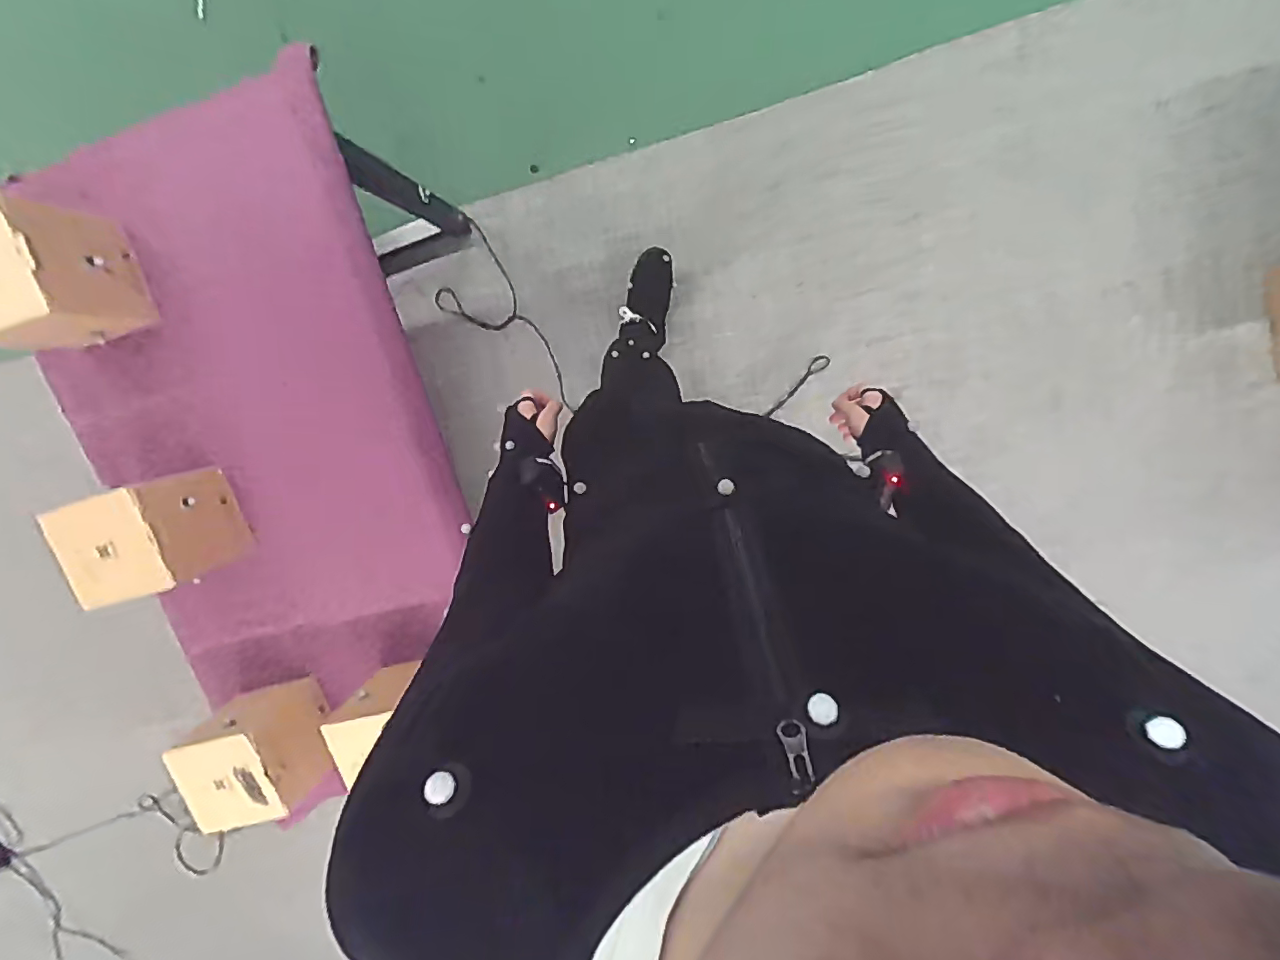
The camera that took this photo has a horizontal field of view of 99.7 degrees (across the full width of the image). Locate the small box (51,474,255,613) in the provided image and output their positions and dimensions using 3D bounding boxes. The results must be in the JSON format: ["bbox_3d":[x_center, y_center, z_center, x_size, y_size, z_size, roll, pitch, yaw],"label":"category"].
[{"bbox_3d":[-0.798,0.099,0.913,0.179,0.176,0.168,-15,99,9],"label":"small box"}]

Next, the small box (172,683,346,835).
[{"bbox_3d":[-0.671,0.497,0.982,0.179,0.176,0.168,-17,99,10],"label":"small box"}]
